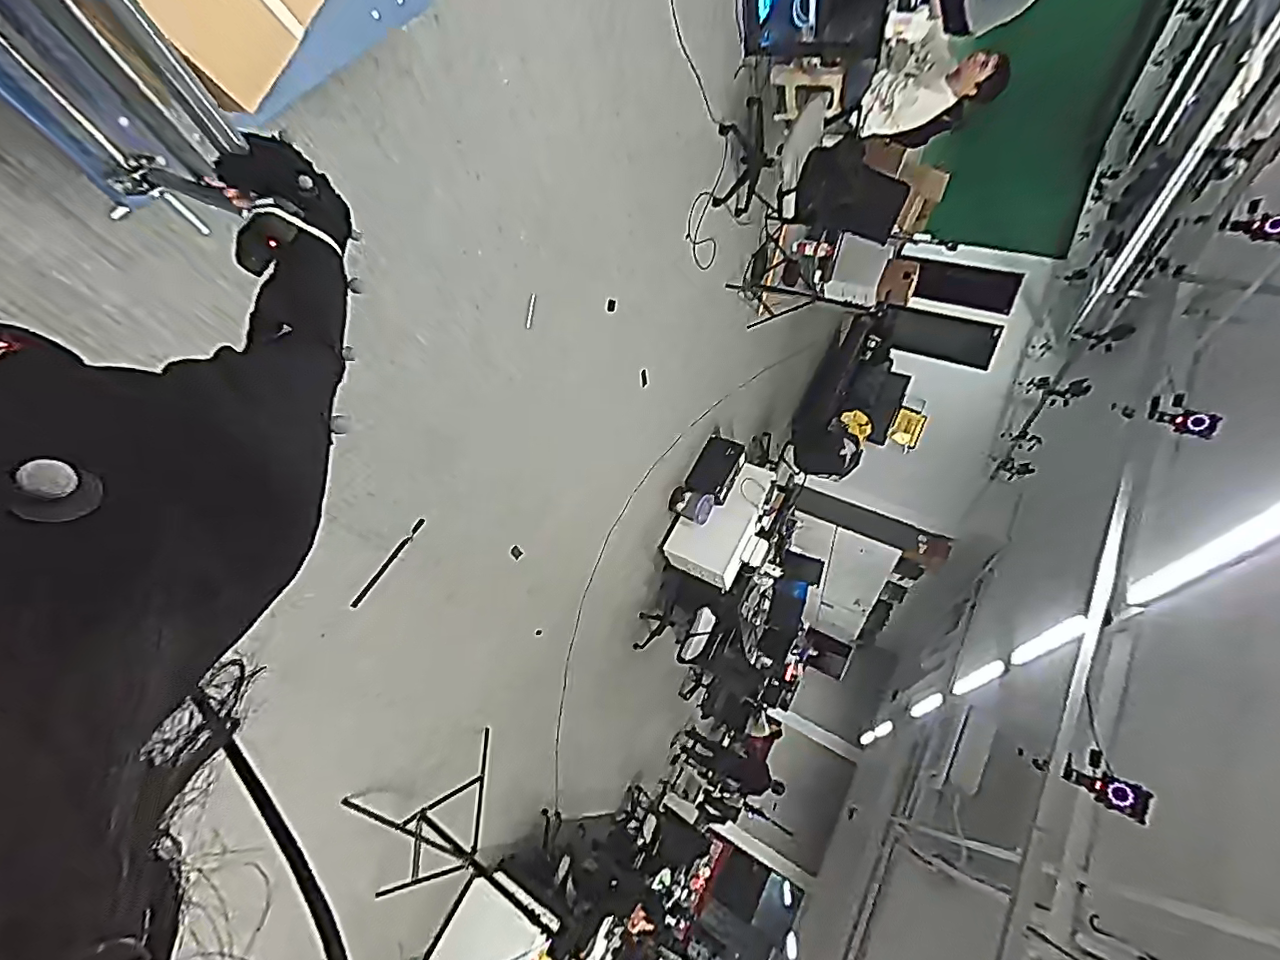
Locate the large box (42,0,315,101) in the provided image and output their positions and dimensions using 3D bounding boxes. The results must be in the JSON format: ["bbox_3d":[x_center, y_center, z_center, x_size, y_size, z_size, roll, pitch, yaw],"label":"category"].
[{"bbox_3d":[-0.741,-0.831,0.744,0.320,0.320,0.408,-63,157,-7],"label":"large box"}]
